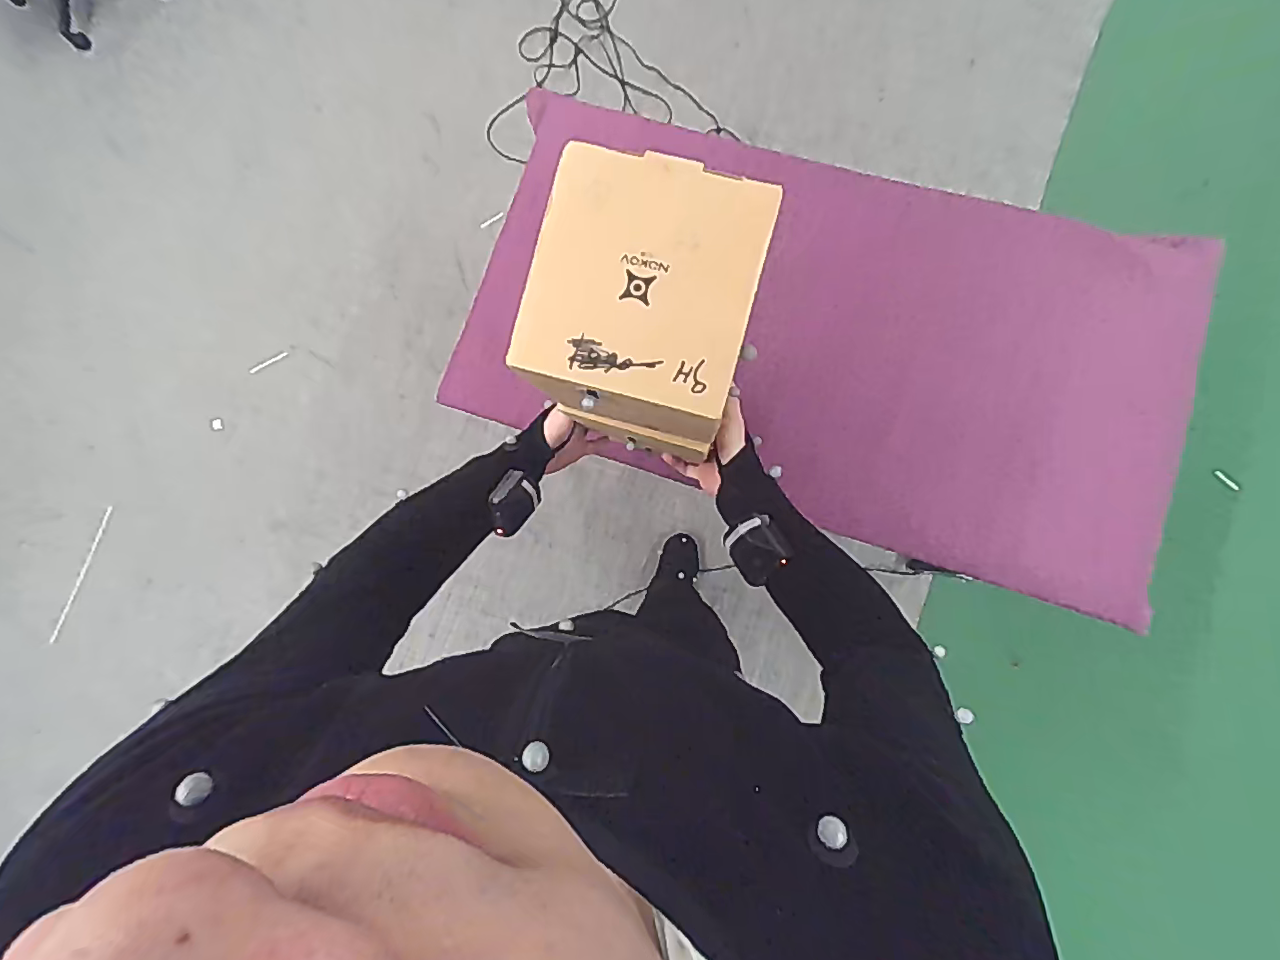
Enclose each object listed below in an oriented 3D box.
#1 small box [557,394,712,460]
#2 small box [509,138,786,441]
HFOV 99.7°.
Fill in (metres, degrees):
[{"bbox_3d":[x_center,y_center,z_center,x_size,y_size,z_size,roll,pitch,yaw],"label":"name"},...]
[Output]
[{"bbox_3d":[0.022,-0.129,0.632,0.168,0.176,0.179,17,89,5],"label":"small box"},{"bbox_3d":[0.011,-0.145,0.469,0.168,0.176,0.179,16,89,6],"label":"small box"}]
